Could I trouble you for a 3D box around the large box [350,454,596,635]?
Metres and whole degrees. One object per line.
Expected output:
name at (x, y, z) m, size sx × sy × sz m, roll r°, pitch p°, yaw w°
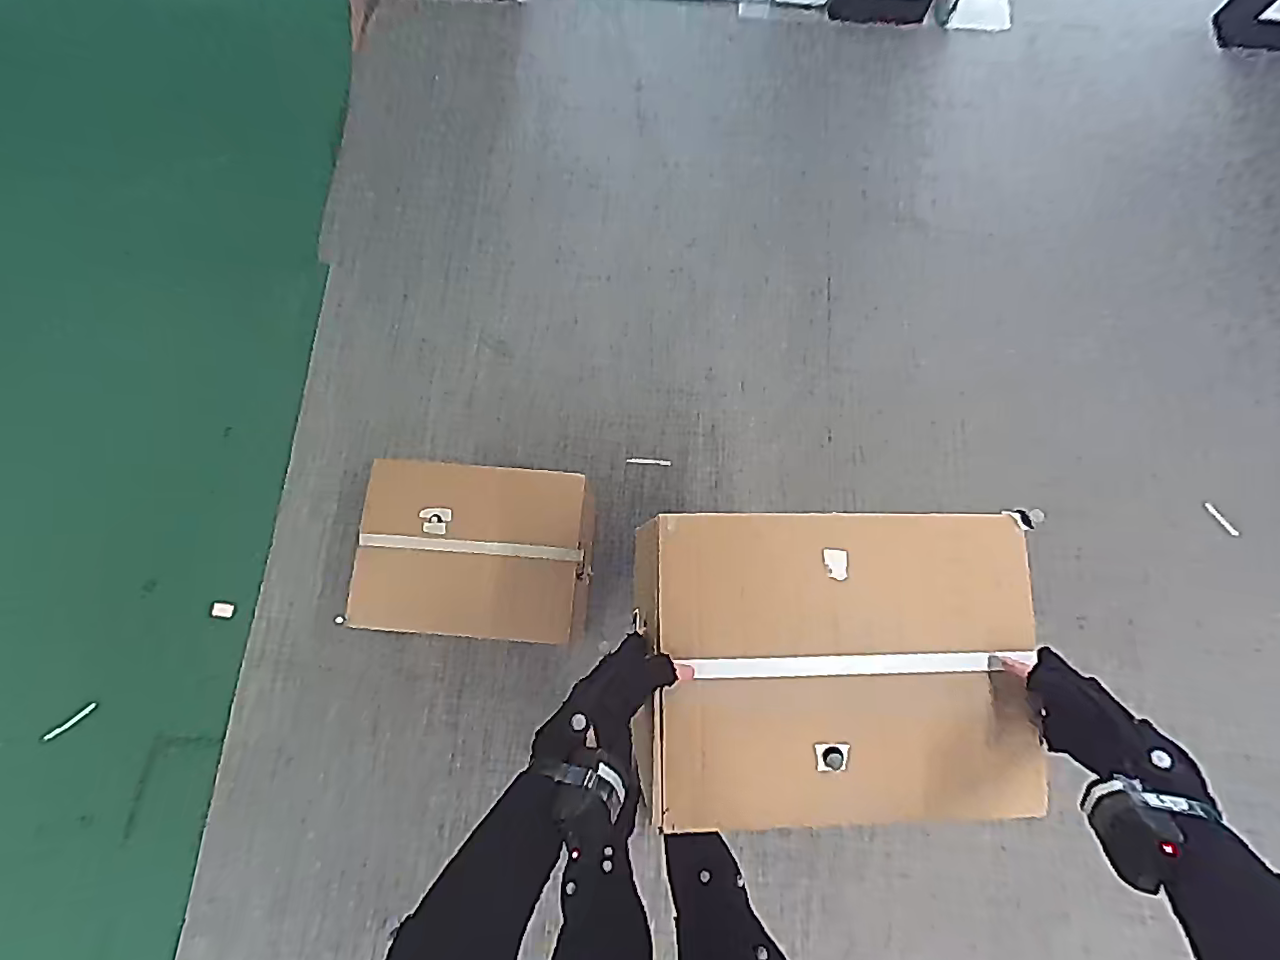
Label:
large box at (-0.310, 0.143, 1.138) m, size 0.408 × 0.320 × 0.320 m, roll 5°, pitch 77°, yaw 1°
